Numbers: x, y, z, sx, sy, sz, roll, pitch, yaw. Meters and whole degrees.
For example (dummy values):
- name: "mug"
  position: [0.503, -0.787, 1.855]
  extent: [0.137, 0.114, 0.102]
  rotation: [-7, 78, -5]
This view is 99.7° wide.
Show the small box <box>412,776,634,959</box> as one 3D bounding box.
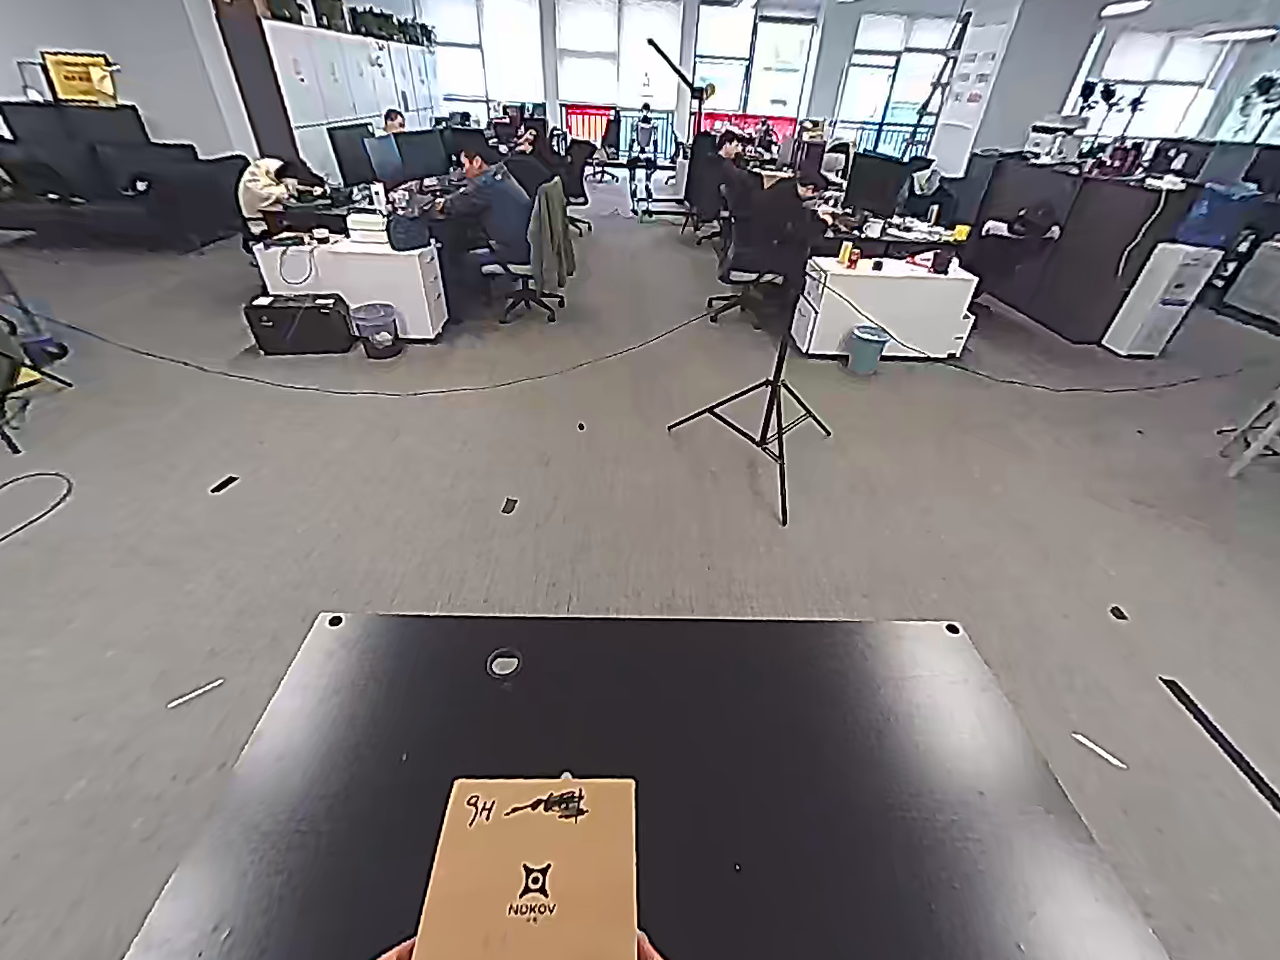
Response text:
- name: "small box"
  position: [-0.088, 0.390, 0.479]
  extent: [0.168, 0.176, 0.179]
  rotation: [1, 38, -3]
